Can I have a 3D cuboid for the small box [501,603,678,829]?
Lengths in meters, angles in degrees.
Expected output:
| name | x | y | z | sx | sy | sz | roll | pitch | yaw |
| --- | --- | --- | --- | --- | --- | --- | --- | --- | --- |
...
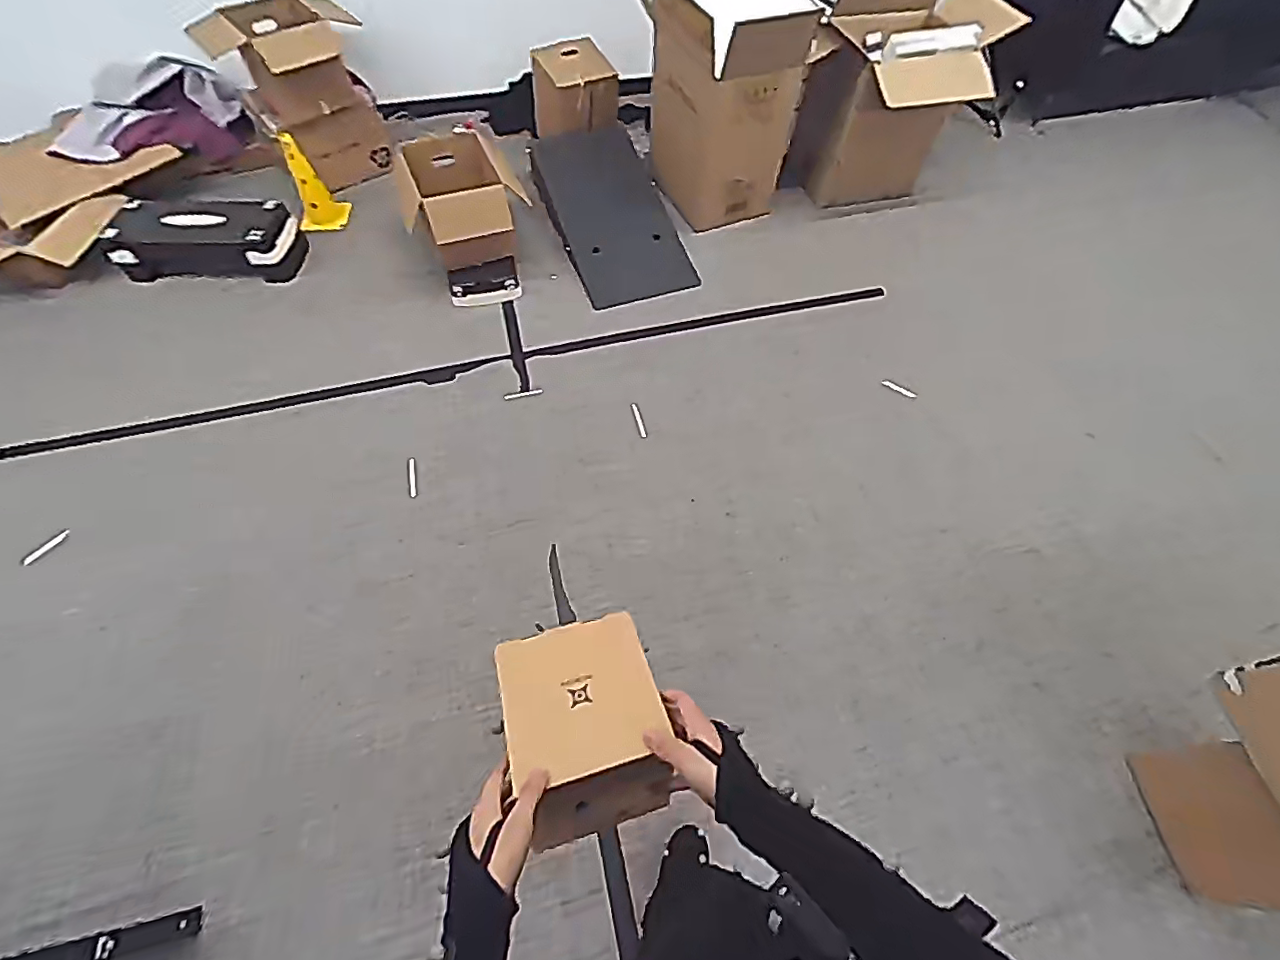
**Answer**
| name | x | y | z | sx | sy | sz | roll | pitch | yaw |
| --- | --- | --- | --- | --- | --- | --- | --- | --- | --- |
| small box | -0.059 | 0.281 | 0.638 | 0.168 | 0.176 | 0.179 | -12 | 41 | -13 |
